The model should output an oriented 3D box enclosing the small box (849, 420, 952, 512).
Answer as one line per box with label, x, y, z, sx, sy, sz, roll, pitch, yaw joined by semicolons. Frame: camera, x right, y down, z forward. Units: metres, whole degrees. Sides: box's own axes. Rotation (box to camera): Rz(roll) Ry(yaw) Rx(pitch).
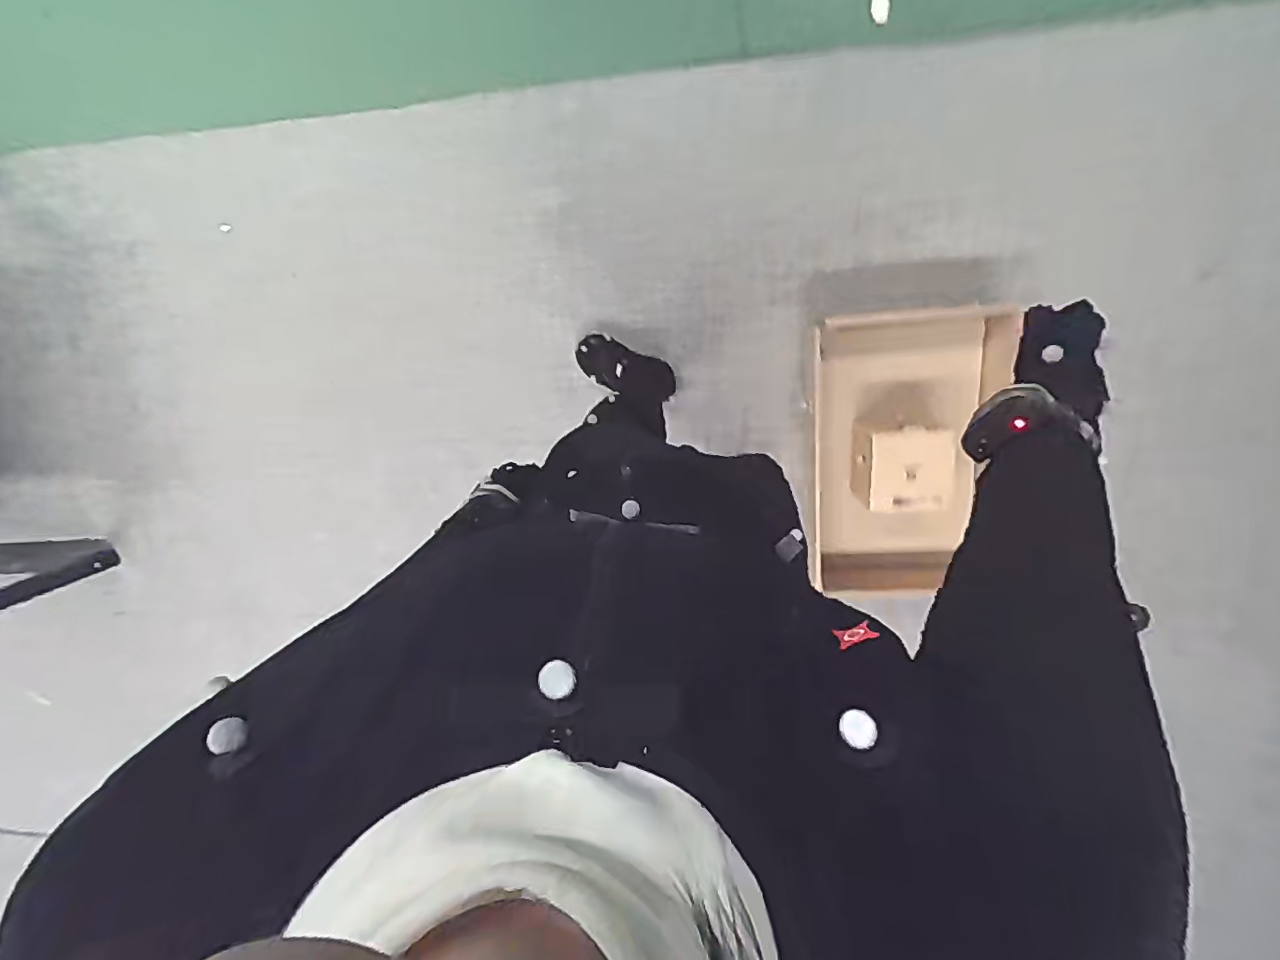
small box;0.579;-0.039;1.222;0.168;0.176;0.179;-4;104;7
